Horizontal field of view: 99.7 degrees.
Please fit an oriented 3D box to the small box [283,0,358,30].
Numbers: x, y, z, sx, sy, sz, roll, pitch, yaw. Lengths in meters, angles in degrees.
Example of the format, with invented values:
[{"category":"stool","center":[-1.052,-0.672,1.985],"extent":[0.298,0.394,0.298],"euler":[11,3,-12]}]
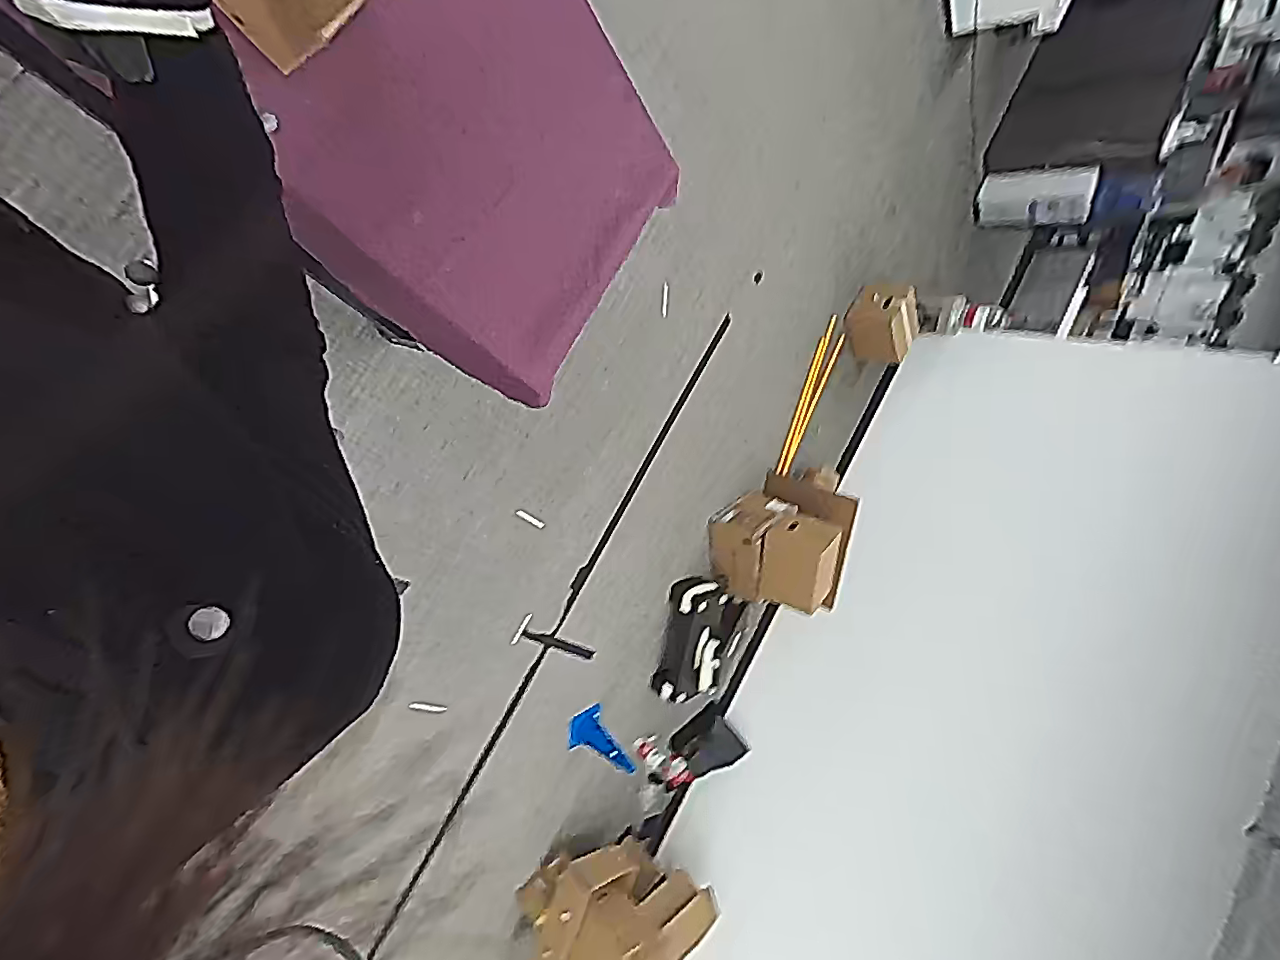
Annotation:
[{"category":"small box","center":[-0.292,-0.558,0.477],"extent":[0.168,0.176,0.179],"euler":[-59,139,-11]}]
